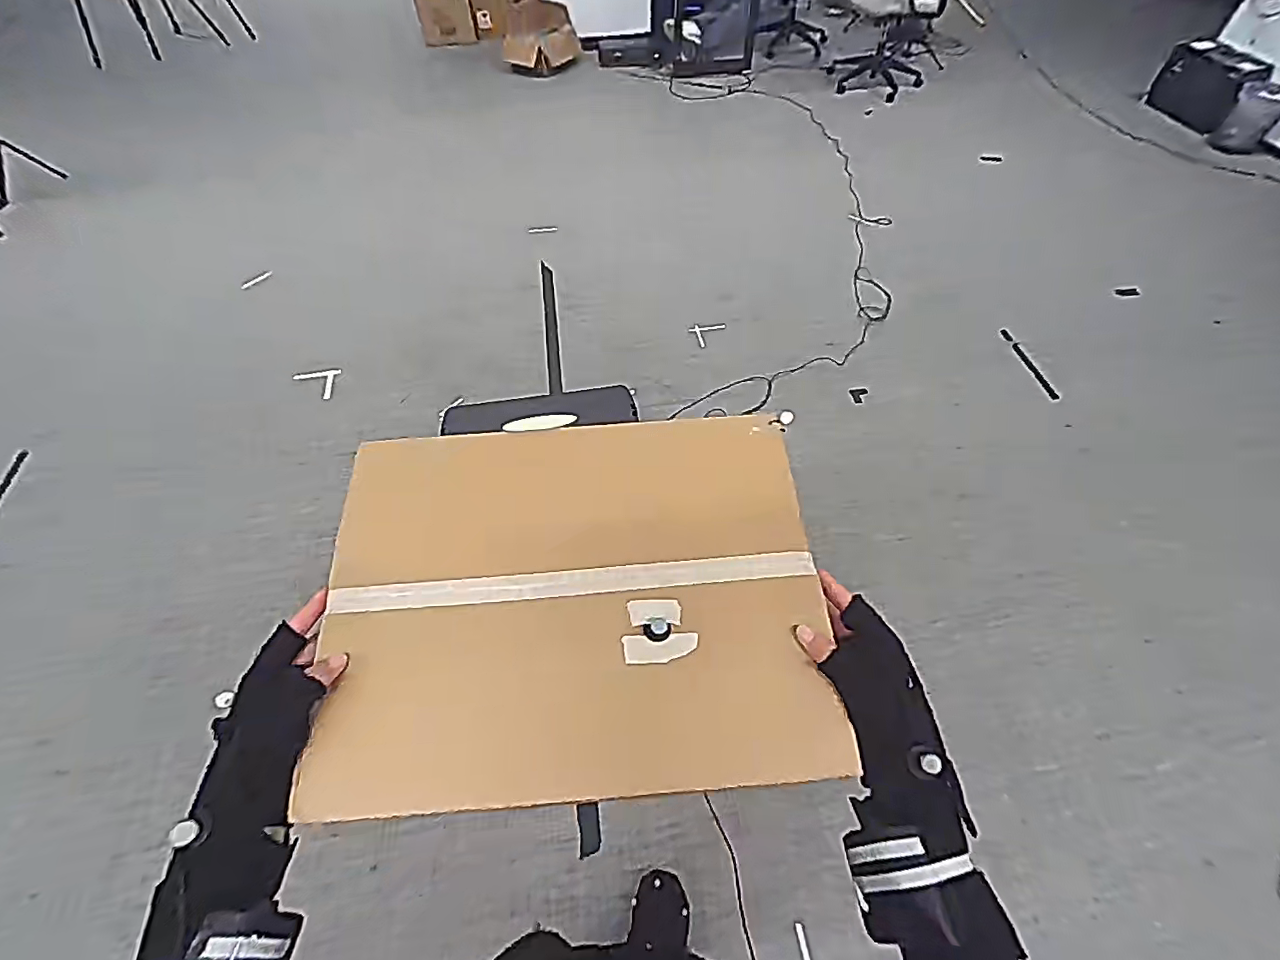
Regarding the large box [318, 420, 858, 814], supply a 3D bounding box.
[{"bbox_3d":[-0.046,0.159,0.592,0.408,0.320,0.320,-4,62,-2],"label":"large box"}]
